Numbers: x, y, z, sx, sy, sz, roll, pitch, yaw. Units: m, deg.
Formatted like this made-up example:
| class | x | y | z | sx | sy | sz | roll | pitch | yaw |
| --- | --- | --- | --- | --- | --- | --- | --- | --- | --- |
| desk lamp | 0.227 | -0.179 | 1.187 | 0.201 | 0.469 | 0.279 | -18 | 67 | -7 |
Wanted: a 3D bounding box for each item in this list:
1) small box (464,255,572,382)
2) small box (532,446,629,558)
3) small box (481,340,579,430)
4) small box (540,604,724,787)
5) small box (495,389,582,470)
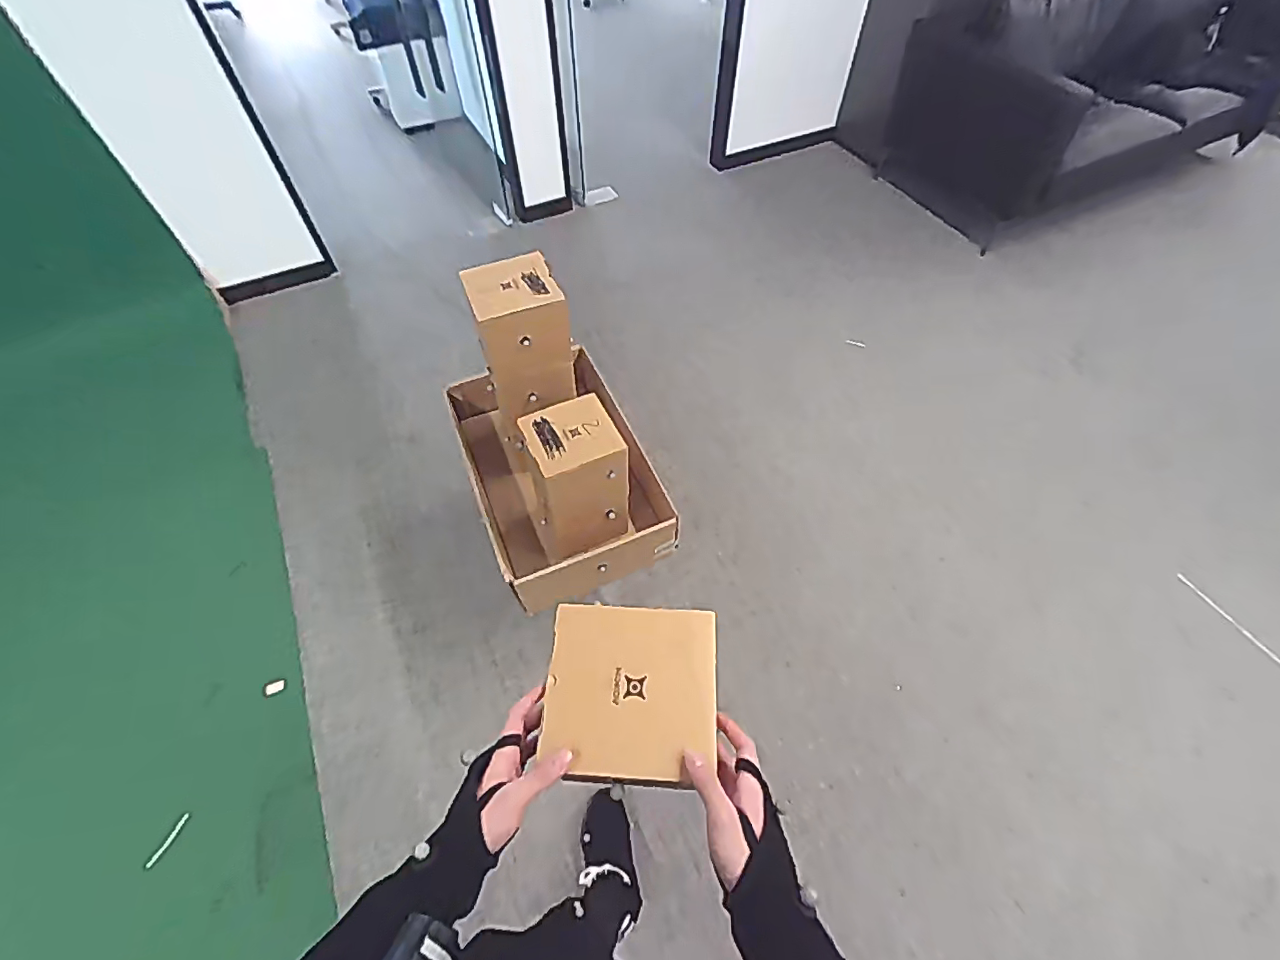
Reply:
| class | x | y | z | sx | sy | sz | roll | pitch | yaw |
| --- | --- | --- | --- | --- | --- | --- | --- | --- | --- |
| small box | -0.247 | -0.334 | 1.131 | 0.179 | 0.176 | 0.168 | -19 | 59 | -14 |
| small box | -0.137 | 0.054 | 1.262 | 0.179 | 0.176 | 0.168 | -21 | 58 | -15 |
| small box | -0.253 | -0.242 | 1.268 | 0.179 | 0.176 | 0.168 | -18 | 60 | -13 |
| small box | 0.000 | 0.250 | 0.616 | 0.179 | 0.176 | 0.168 | 2 | 59 | 4 |
| small box | -0.258 | -0.148 | 1.402 | 0.179 | 0.176 | 0.168 | -17 | 59 | -14 |
